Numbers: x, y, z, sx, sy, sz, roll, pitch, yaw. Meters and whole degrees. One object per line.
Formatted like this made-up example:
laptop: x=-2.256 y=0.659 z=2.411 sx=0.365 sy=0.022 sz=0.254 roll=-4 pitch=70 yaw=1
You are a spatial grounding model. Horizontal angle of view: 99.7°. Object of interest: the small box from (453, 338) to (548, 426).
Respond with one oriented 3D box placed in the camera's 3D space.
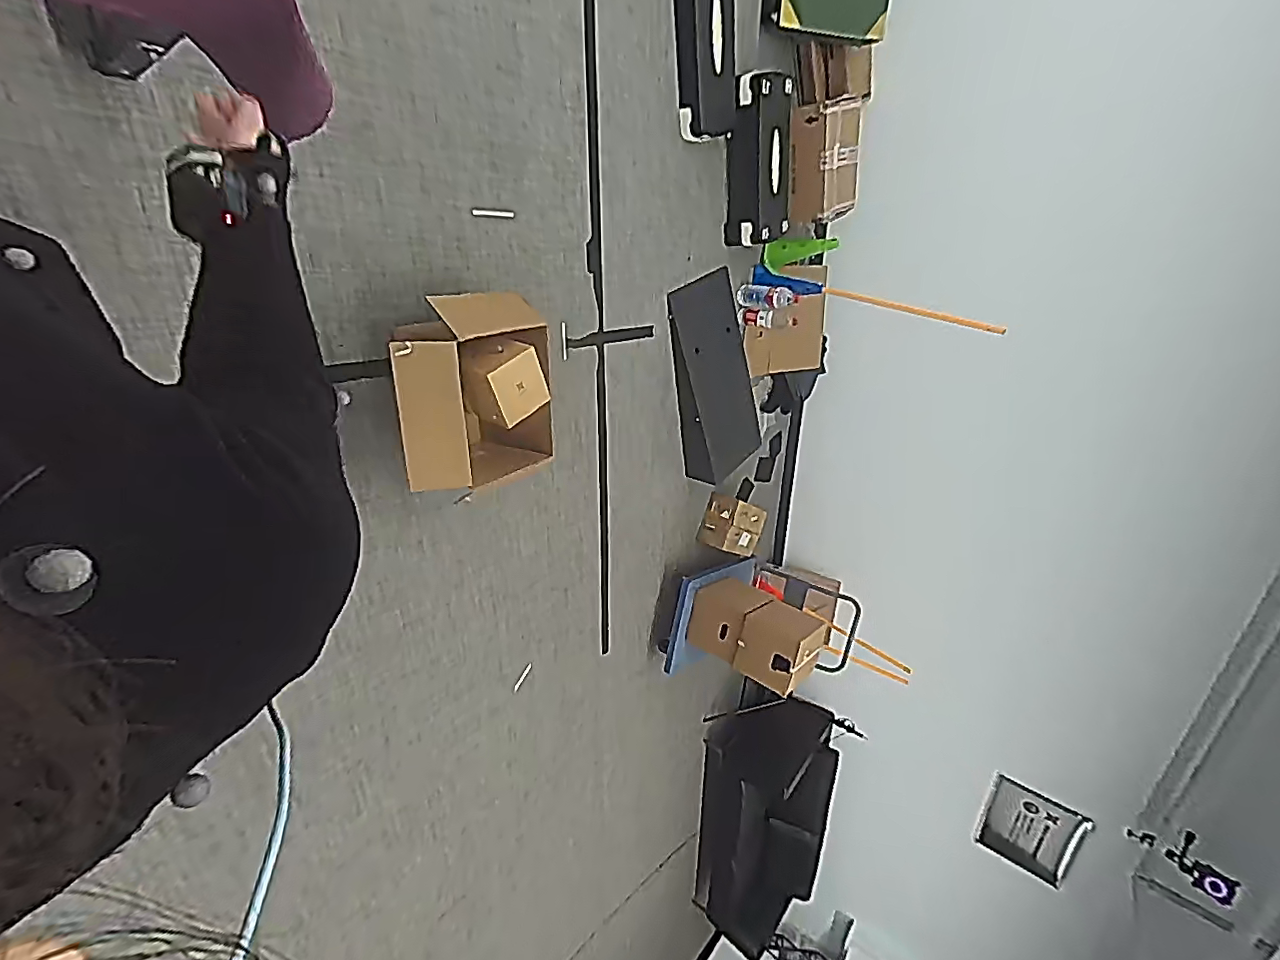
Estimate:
small box: x=-0.392 y=-0.283 z=1.517 sx=0.168 sy=0.176 sz=0.179 roll=-44 pitch=140 yaw=-30
